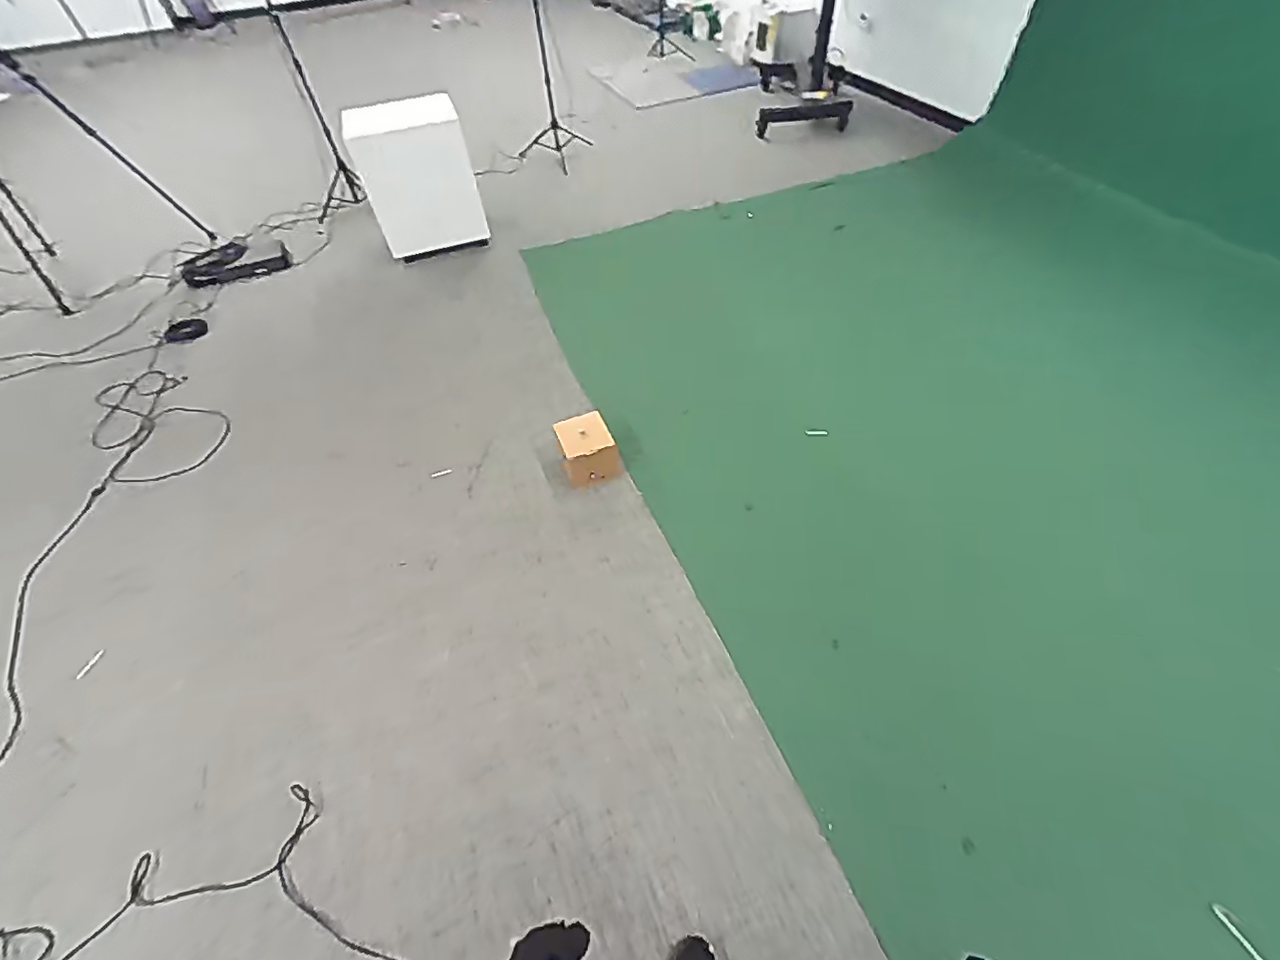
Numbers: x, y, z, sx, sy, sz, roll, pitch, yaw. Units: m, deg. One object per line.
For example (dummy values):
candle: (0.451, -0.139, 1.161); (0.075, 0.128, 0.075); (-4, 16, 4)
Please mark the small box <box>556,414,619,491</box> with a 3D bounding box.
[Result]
small box: (-0.181, -0.094, 1.870); (0.168, 0.176, 0.179); (-20, 53, -12)
